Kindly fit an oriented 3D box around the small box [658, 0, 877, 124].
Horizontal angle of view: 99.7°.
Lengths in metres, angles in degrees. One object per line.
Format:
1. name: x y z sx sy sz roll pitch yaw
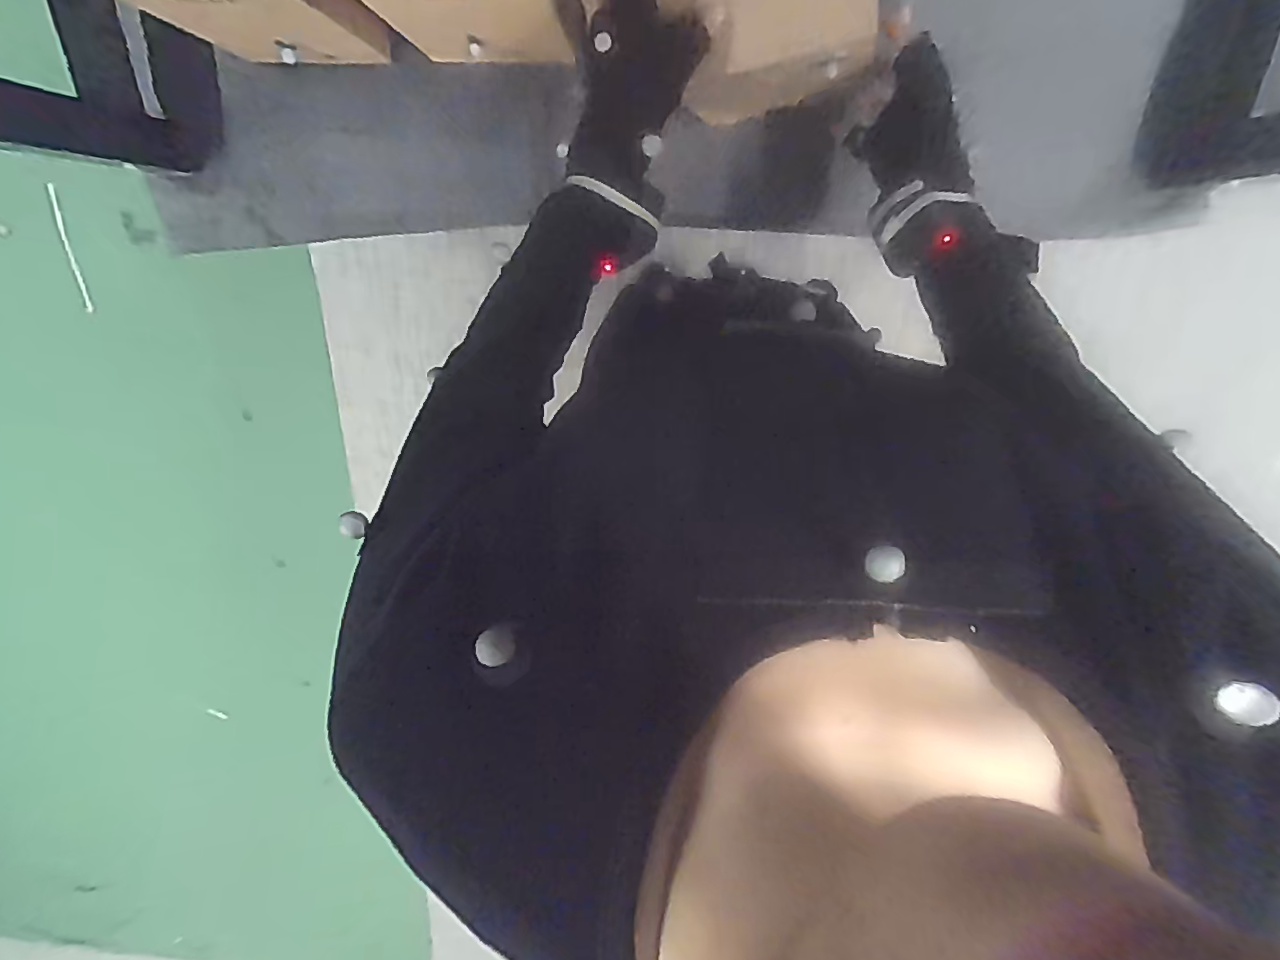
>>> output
1. small box: 0.112 -0.435 0.458 0.168 0.176 0.179 1 113 22
